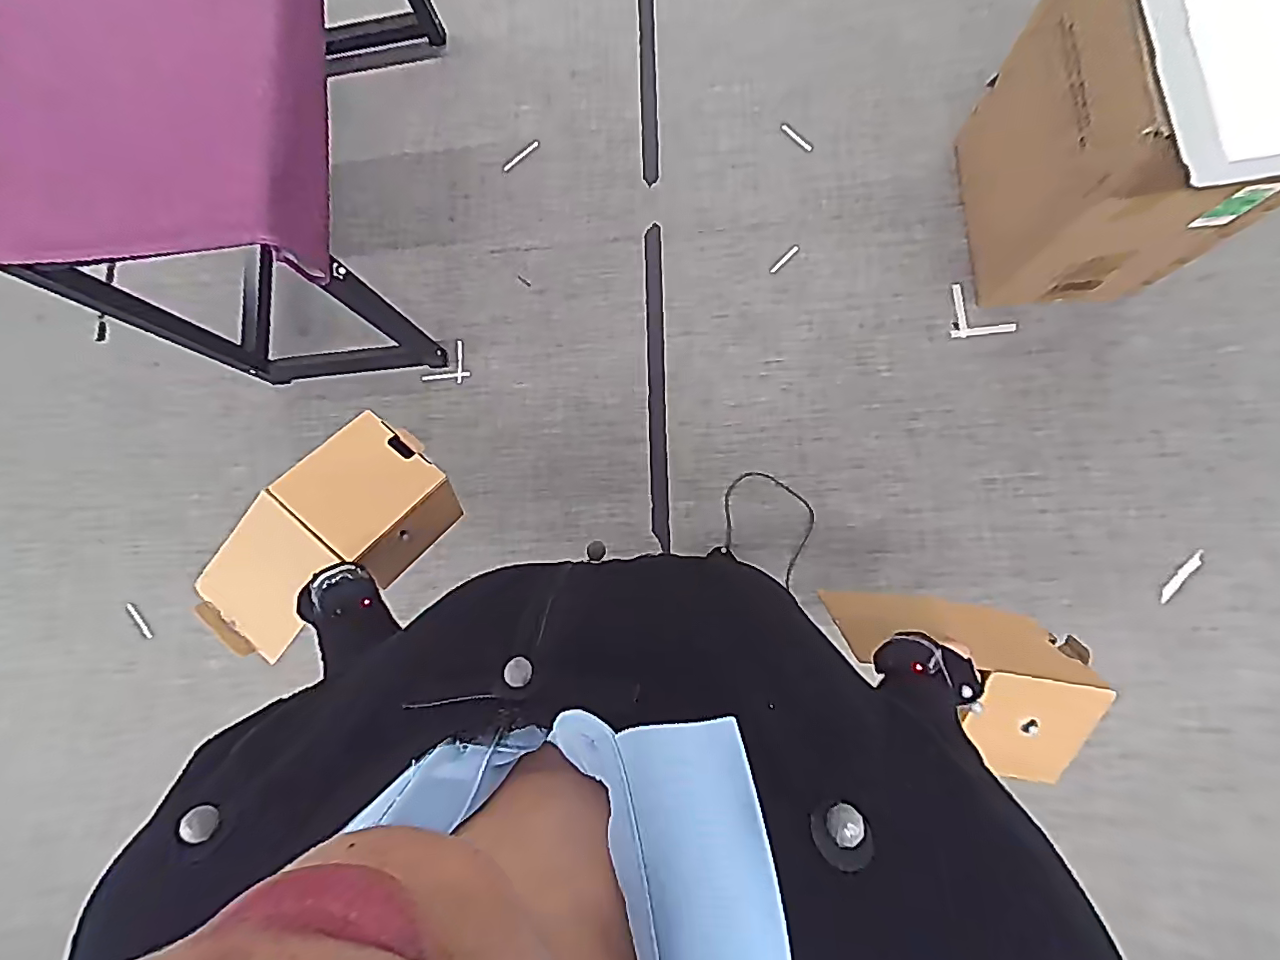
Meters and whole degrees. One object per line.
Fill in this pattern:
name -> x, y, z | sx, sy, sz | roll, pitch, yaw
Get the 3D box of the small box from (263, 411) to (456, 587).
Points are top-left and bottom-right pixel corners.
small box -> -0.404, 0.038, 0.816 | 0.168, 0.176, 0.179 | 39, 66, 7
